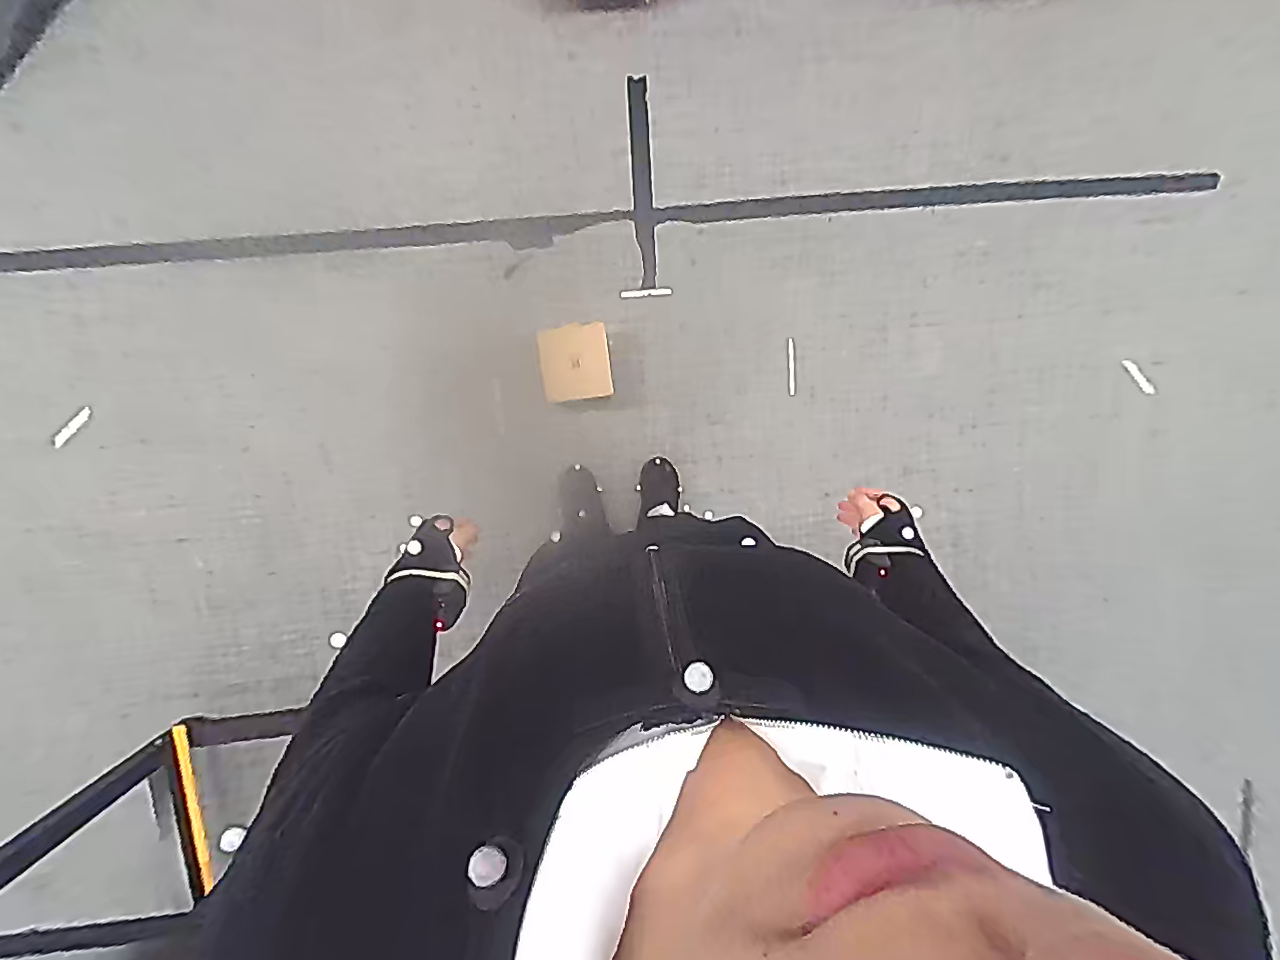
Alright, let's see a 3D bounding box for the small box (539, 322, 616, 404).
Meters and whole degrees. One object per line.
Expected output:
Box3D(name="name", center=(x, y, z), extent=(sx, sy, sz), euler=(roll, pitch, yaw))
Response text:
Box3D(name="small box", center=(-0.154, -0.288, 1.368), extent=(0.168, 0.176, 0.179), euler=(-8, 98, -1))
